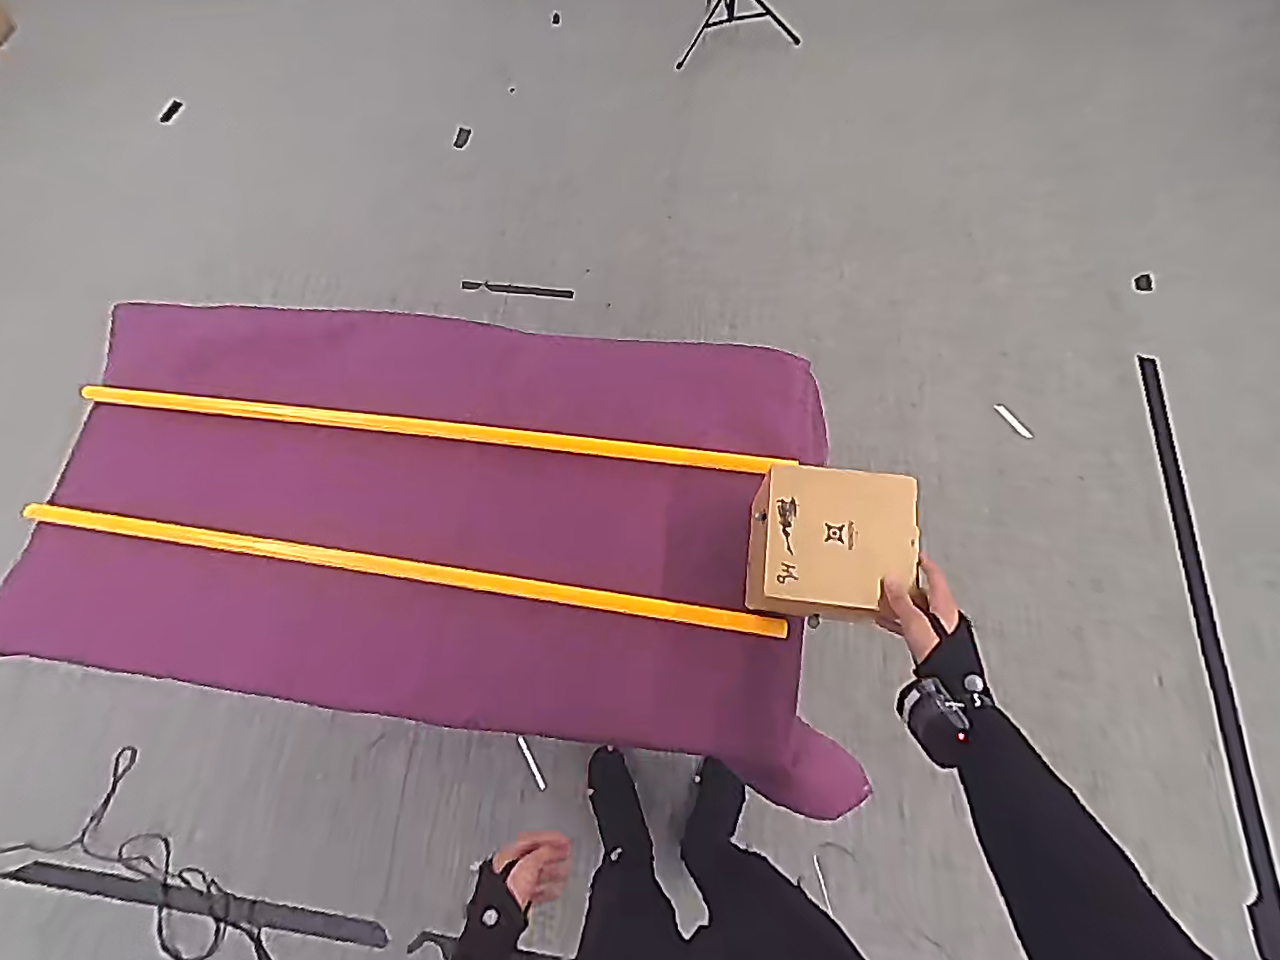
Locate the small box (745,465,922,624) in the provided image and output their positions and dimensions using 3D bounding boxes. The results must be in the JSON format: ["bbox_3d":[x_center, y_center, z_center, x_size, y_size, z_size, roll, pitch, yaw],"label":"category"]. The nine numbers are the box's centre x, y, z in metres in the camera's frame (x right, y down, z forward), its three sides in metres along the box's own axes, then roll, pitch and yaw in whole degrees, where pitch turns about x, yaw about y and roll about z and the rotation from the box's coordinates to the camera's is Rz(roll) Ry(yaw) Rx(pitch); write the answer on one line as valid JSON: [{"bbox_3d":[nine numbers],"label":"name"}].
[{"bbox_3d":[0.241,0.093,0.705,0.179,0.176,0.168,7,72,5],"label":"small box"}]
